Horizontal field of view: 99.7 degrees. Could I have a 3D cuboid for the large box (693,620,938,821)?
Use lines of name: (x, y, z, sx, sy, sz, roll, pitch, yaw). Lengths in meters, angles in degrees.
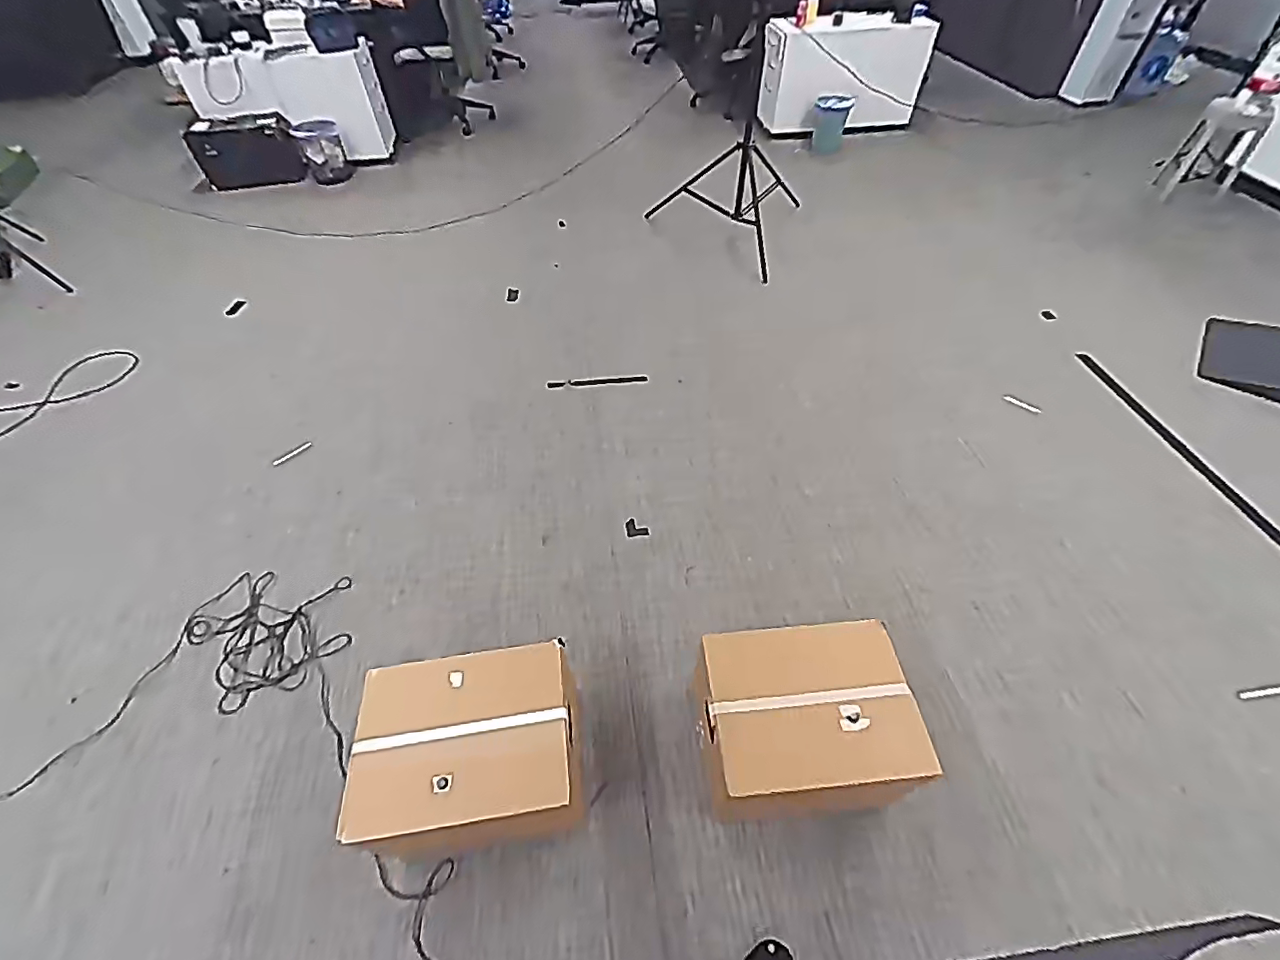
large box: (0.349, 0.539, 1.208, 0.408, 0.320, 0.320, -4, 50, -3)
